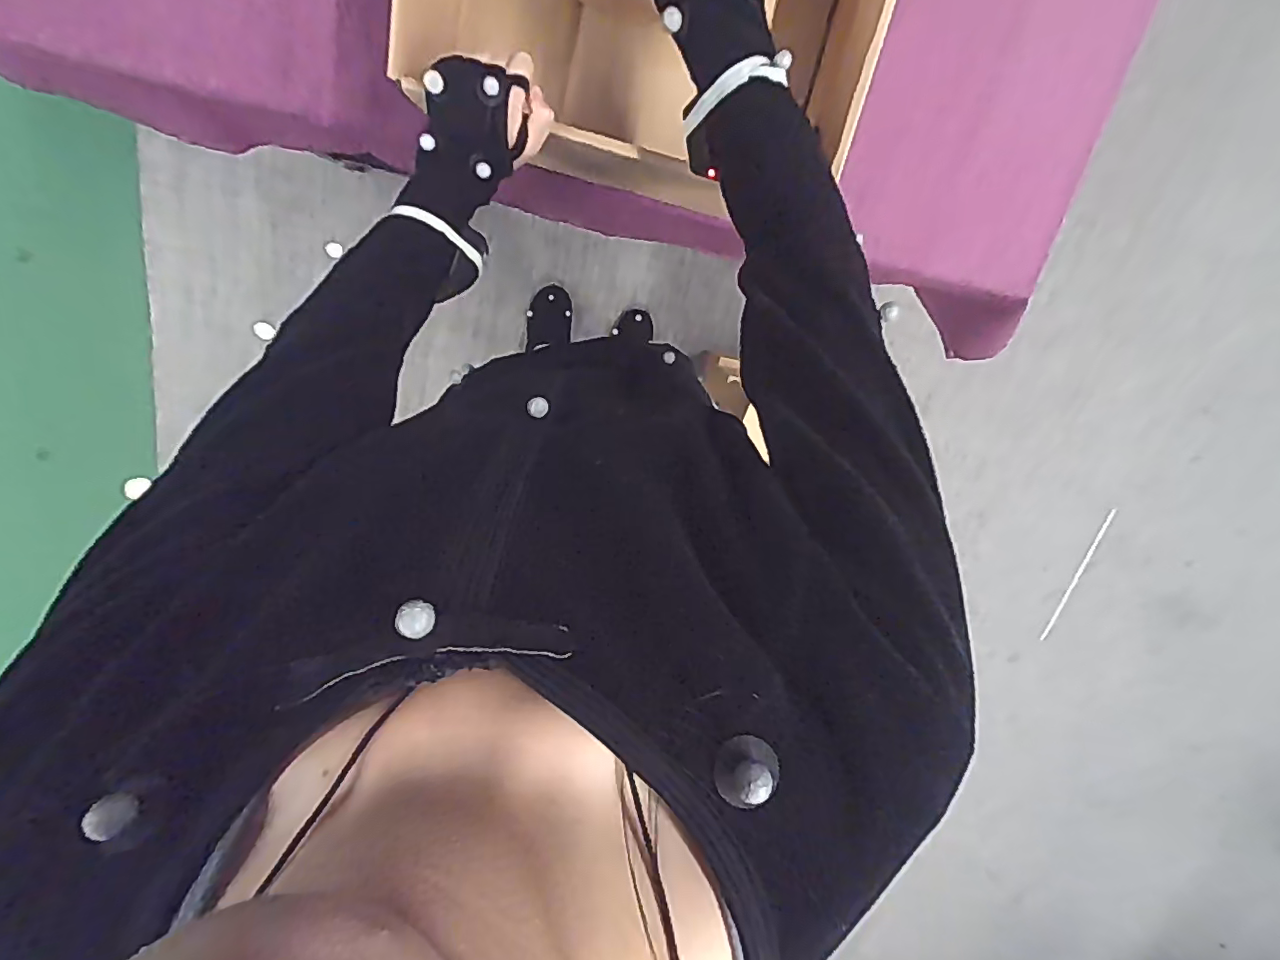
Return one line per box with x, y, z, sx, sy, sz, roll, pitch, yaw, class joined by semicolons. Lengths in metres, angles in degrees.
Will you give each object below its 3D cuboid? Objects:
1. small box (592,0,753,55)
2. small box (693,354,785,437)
0.041;-0.514;0.461;0.168;0.176;0.179;13;105;-7;small box
0.248;-0.225;1.404;0.179;0.176;0.168;10;109;-7;small box
